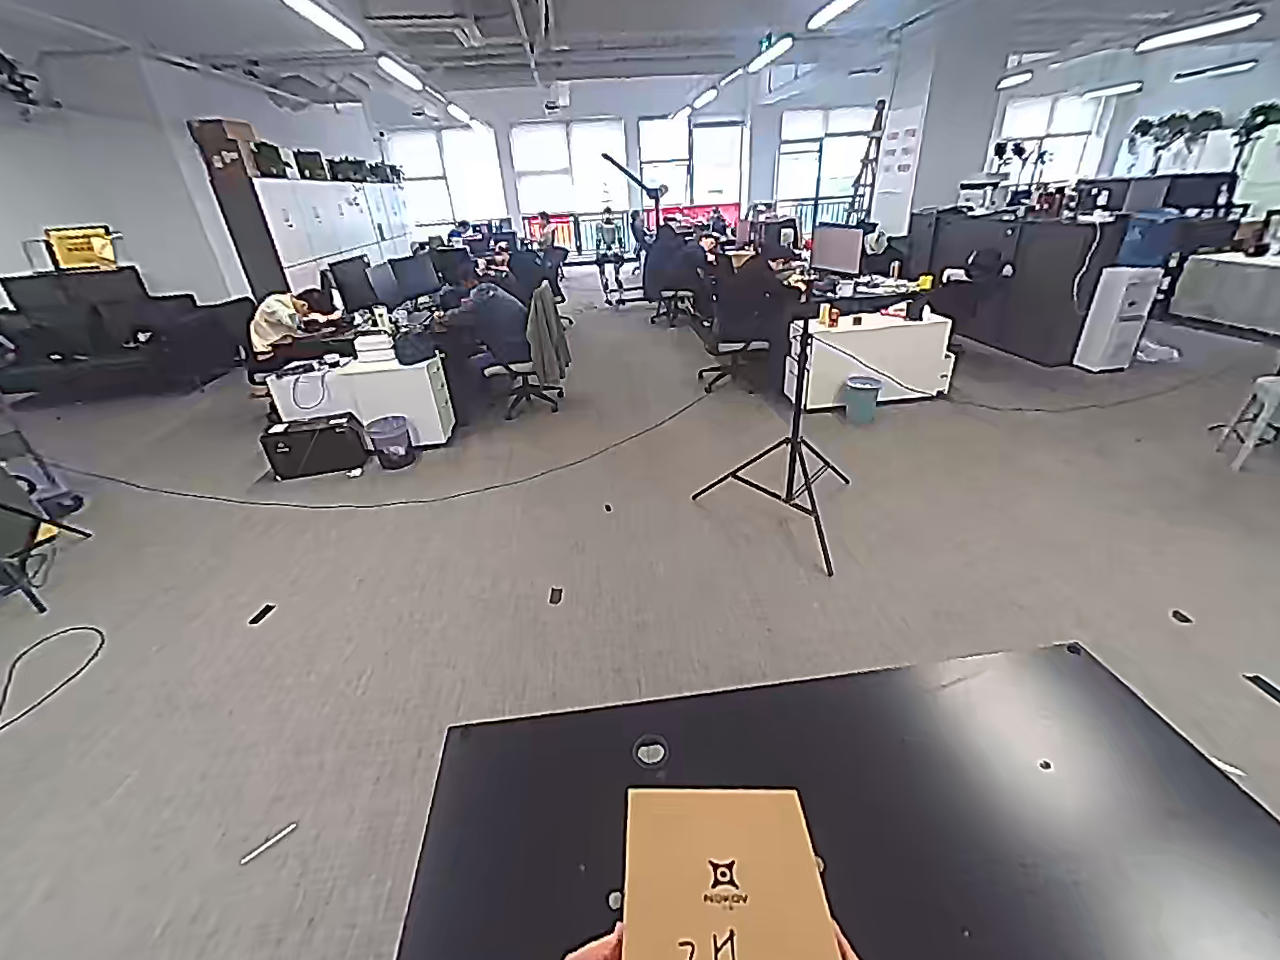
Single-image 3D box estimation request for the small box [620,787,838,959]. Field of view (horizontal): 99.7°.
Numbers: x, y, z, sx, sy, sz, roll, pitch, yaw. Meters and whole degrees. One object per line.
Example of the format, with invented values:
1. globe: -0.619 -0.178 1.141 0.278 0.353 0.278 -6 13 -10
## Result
1. small box: 0.069 0.410 0.483 0.168 0.176 0.179 -1 23 2
